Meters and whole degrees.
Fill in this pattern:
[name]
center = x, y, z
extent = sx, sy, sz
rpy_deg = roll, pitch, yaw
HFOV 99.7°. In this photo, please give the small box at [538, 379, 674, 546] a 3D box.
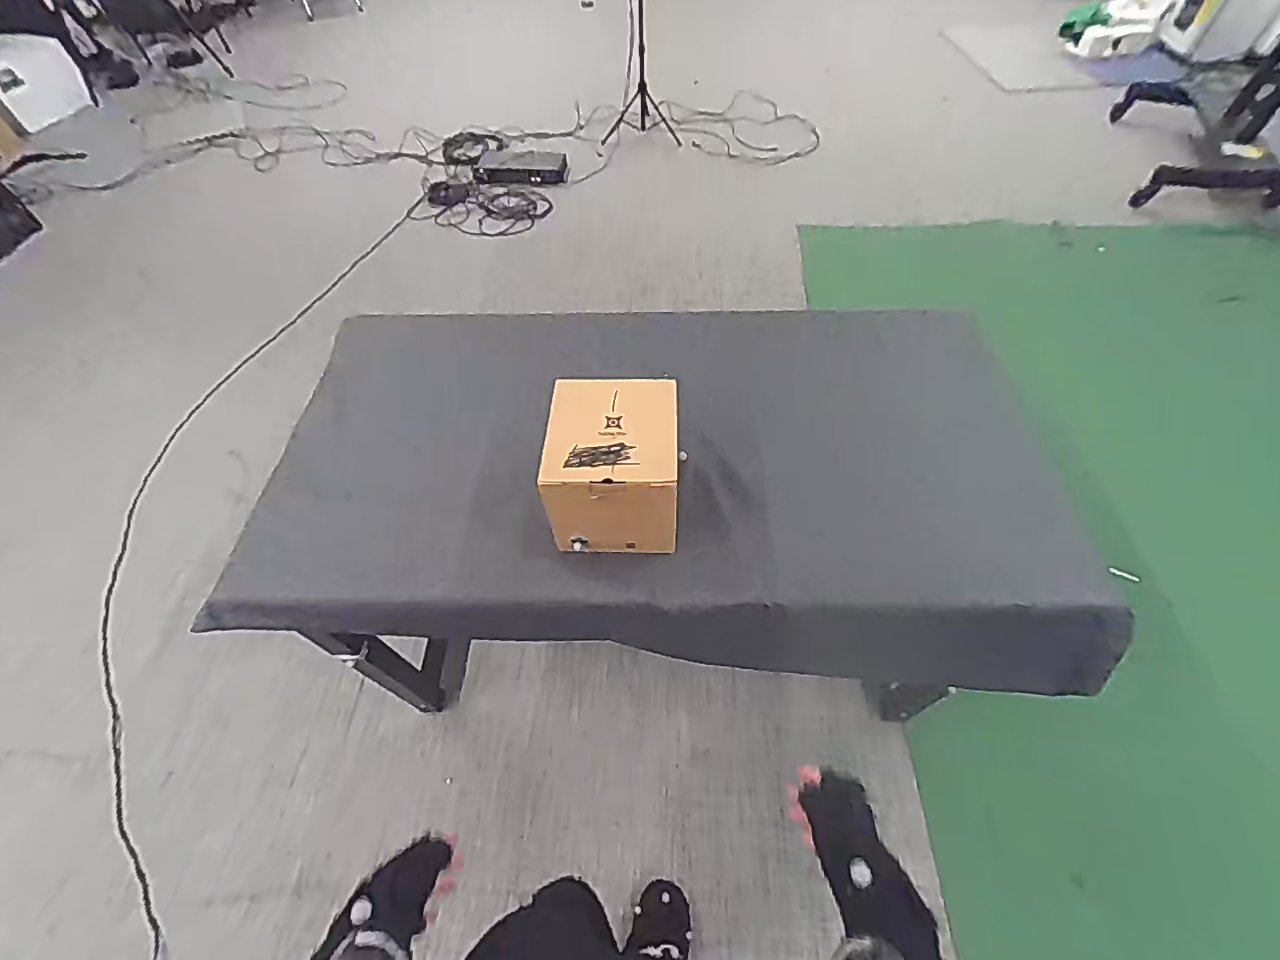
[small box]
center = -0.038, -0.017, 0.752
extent = 0.168, 0.176, 0.179
rpy_deg = -2, 55, 1
